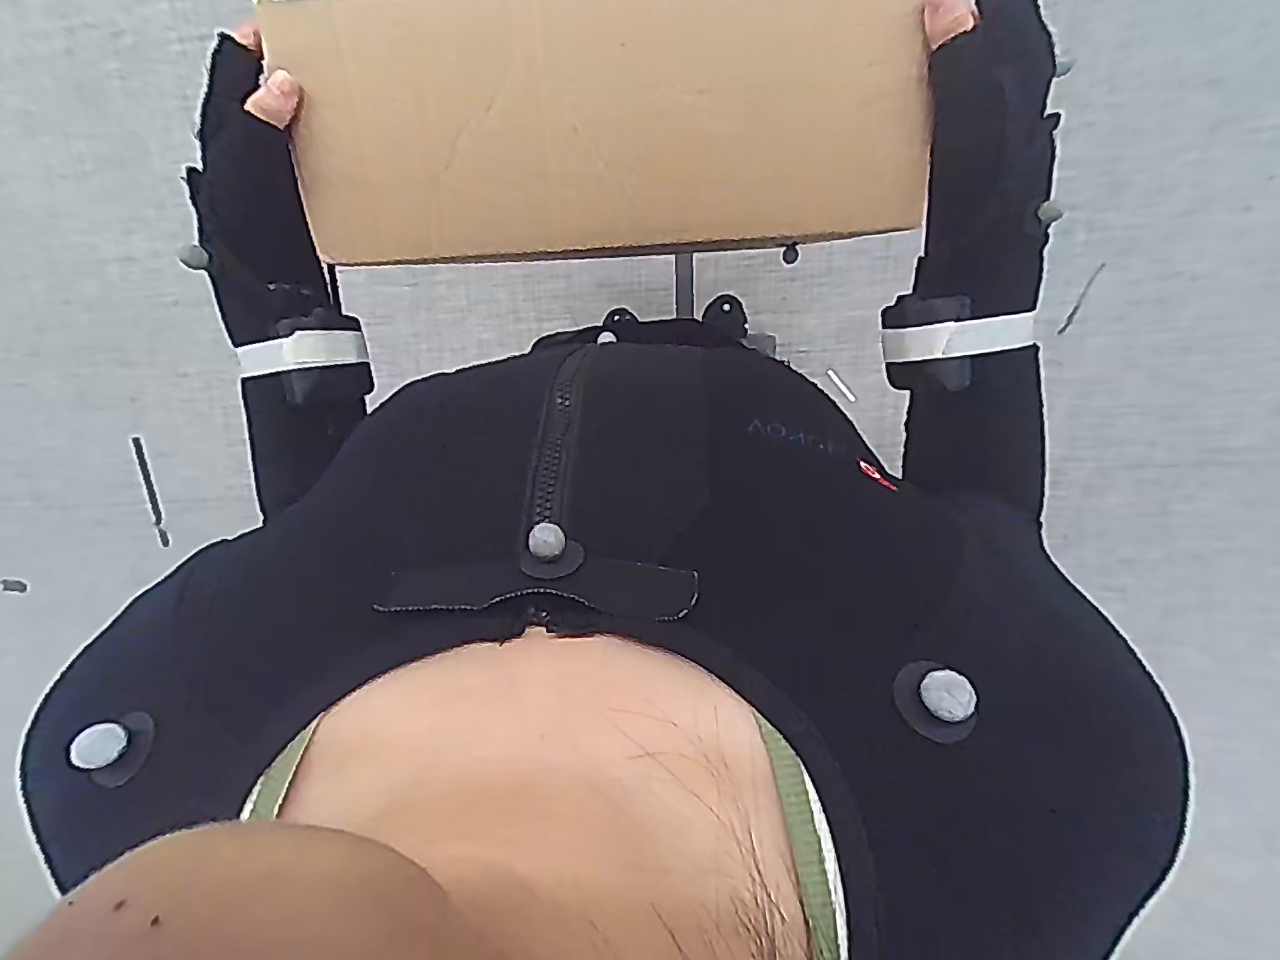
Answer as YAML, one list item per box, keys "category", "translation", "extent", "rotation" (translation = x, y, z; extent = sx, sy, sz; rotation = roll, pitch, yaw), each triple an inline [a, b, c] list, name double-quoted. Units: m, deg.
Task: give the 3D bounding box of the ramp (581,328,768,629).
- category: "ramp"
  translation: [0.121, 0.061, 1.623]
  extent: [0.509, 0.206, 0.991]
  rotation: [-3, 107, 5]

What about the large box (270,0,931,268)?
- category: "large box"
  translation: [-0.021, -0.359, 0.454]
  extent: [0.408, 0.320, 0.320]
  rotation: [-2, 111, 3]
